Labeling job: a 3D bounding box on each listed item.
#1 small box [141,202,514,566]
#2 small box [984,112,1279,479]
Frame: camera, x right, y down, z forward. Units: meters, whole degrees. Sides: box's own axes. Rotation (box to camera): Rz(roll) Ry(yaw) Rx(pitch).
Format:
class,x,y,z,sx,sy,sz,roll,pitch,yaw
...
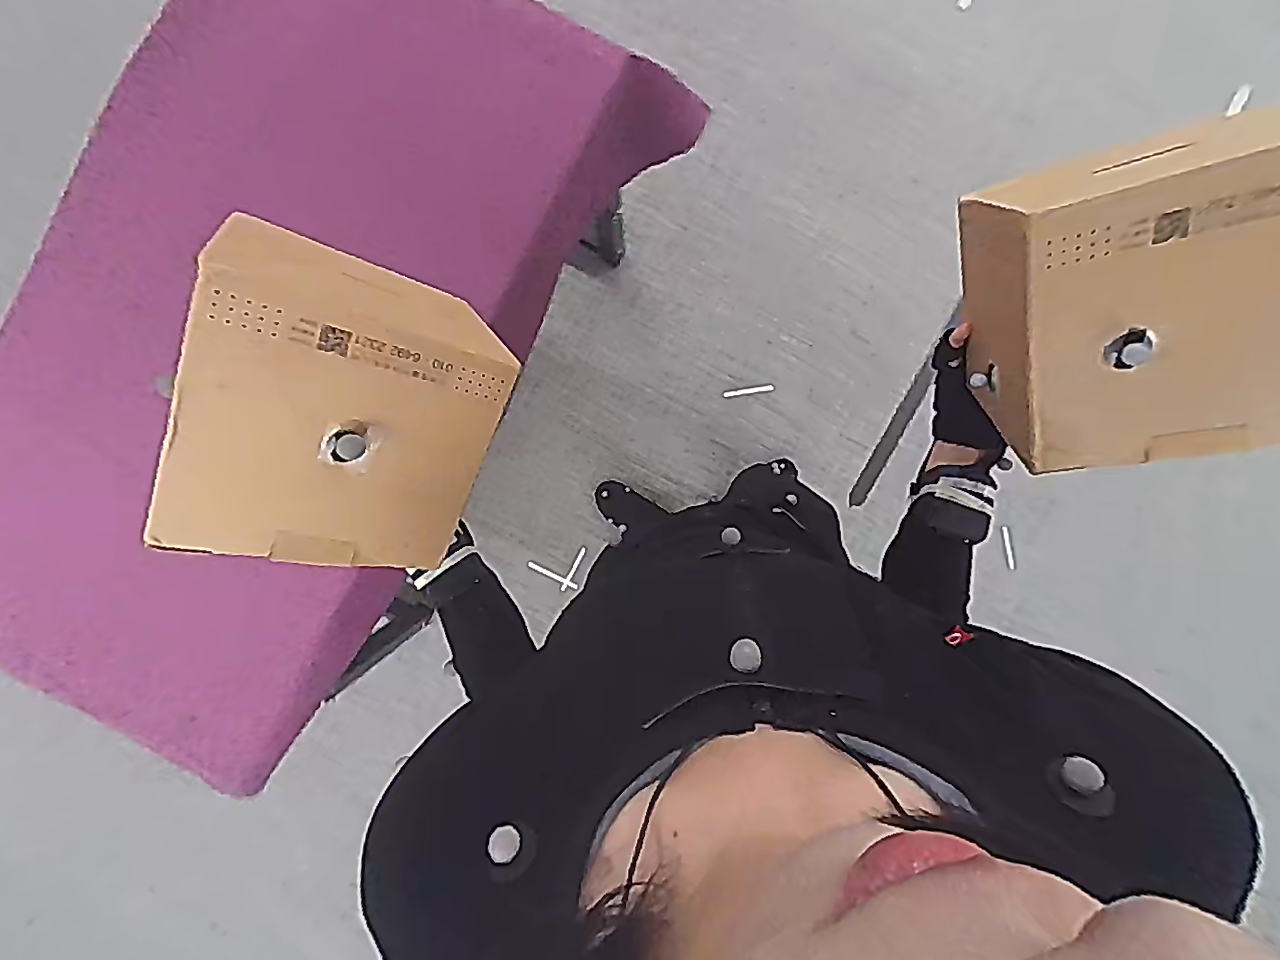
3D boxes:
class,x,y,z,sx,sy,sz,roll,pitch,yaw
small box,-0.204,-0.066,0.369,0.168,0.179,0.176,15,111,-36
small box,0.337,-0.122,0.351,0.168,0.179,0.176,-6,117,21
